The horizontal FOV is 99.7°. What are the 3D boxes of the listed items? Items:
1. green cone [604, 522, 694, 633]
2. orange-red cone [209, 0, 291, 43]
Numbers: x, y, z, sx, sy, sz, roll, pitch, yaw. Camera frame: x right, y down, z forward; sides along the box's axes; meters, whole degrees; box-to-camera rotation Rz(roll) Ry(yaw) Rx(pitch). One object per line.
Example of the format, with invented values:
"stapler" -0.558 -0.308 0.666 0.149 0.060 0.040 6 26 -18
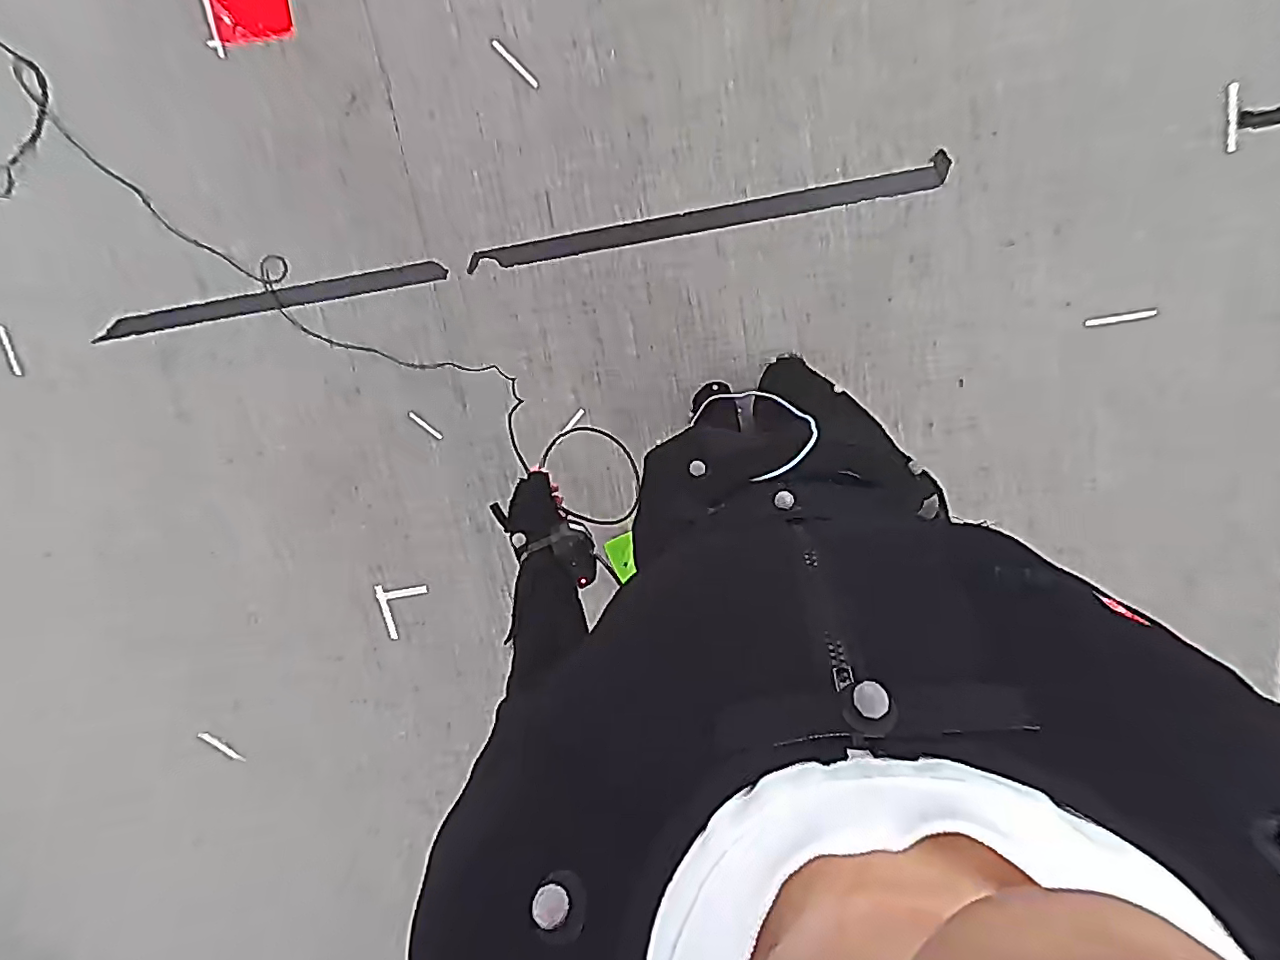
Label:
"green cone" 0.007 0.266 1.323 0.202 0.368 0.200 -24 98 11
"orange-red cone" -0.943 -1.114 1.112 0.199 0.360 0.198 -1 102 4
